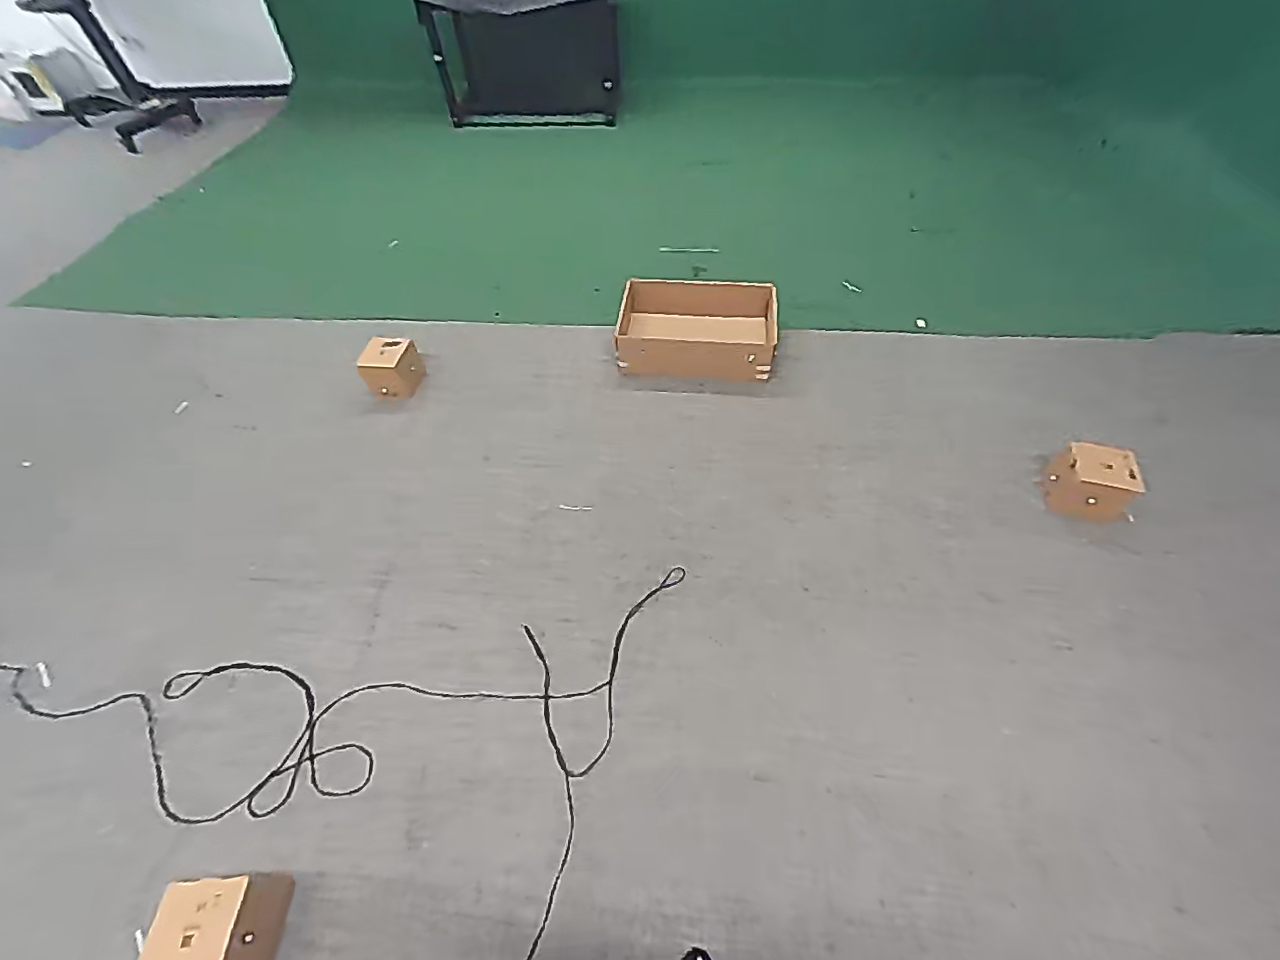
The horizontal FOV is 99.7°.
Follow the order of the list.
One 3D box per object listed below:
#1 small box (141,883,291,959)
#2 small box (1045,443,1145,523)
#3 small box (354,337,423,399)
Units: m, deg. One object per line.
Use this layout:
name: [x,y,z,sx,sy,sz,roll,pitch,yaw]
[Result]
small box: [-0.840,0.917,1.076,0.168,0.176,0.179,-4,51,0]
small box: [1.390,0.014,1.670,0.179,0.176,0.168,13,54,13]
small box: [-0.989,-0.444,2.149,0.168,0.176,0.179,4,53,6]
